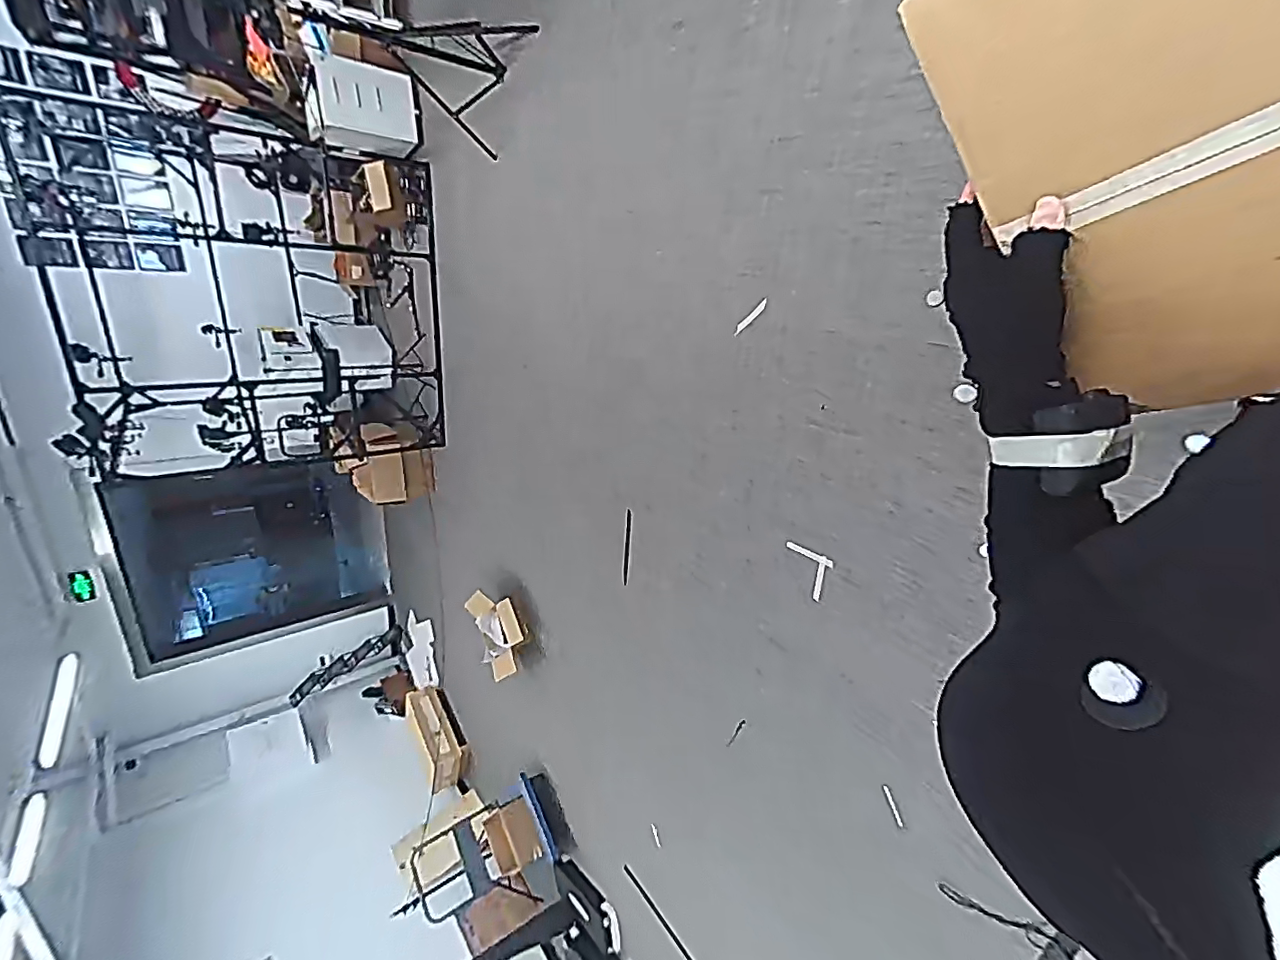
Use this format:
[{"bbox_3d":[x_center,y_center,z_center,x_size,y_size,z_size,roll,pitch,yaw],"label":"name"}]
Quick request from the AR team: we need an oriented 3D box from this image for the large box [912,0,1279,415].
[{"bbox_3d":[0.448,-0.280,0.281,0.320,0.320,0.408,51,151,-18],"label":"large box"}]
